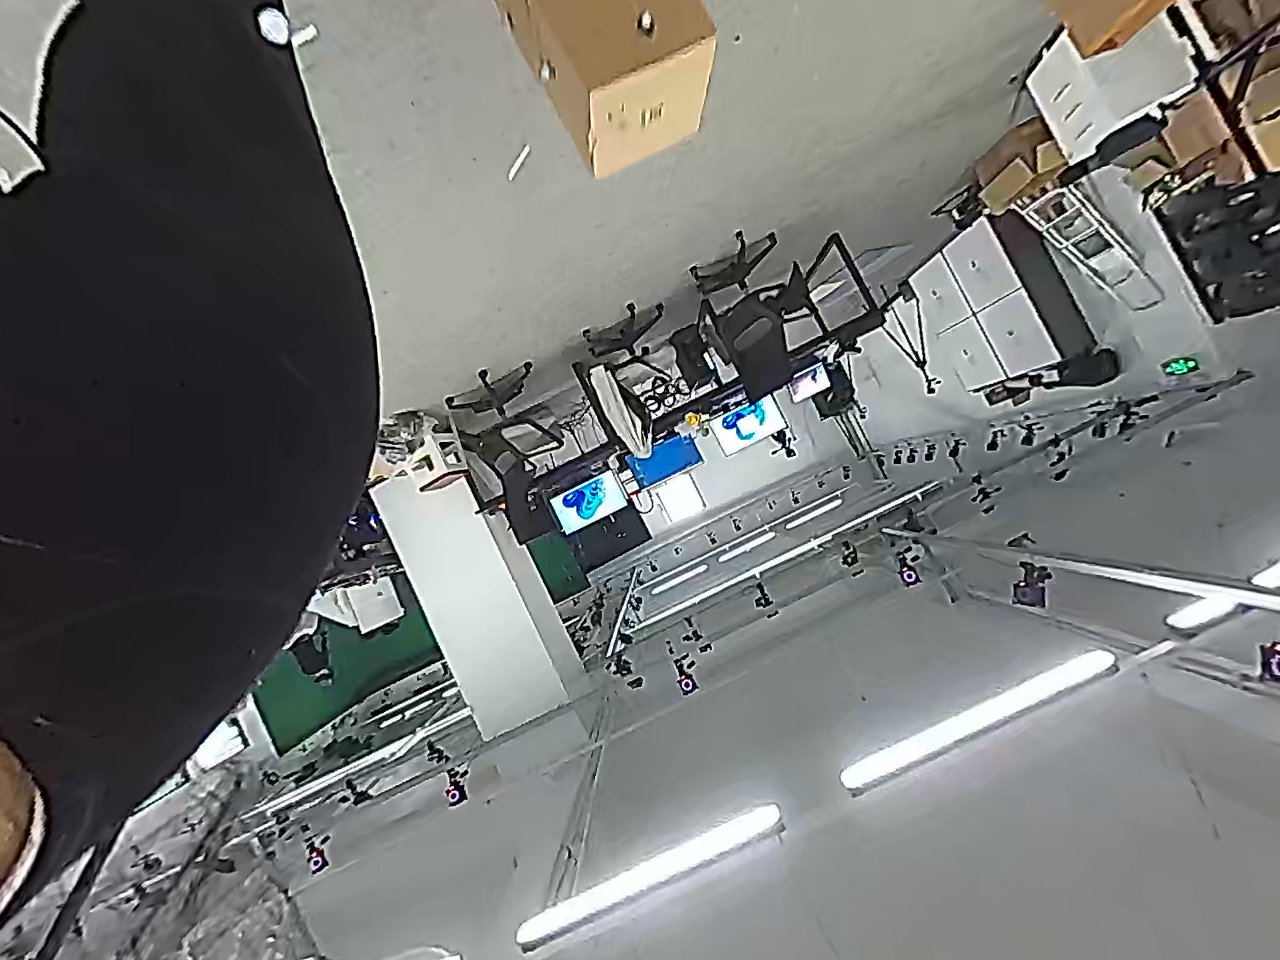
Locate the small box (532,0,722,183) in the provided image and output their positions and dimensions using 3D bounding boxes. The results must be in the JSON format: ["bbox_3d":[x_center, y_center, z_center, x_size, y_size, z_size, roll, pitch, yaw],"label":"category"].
[{"bbox_3d":[-0.020,-0.546,0.712,0.179,0.176,0.168,-27,177,-4],"label":"small box"}]

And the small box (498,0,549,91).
[{"bbox_3d":[-0.107,-0.686,0.721,0.168,0.176,0.179,-28,177,-2],"label":"small box"}]
